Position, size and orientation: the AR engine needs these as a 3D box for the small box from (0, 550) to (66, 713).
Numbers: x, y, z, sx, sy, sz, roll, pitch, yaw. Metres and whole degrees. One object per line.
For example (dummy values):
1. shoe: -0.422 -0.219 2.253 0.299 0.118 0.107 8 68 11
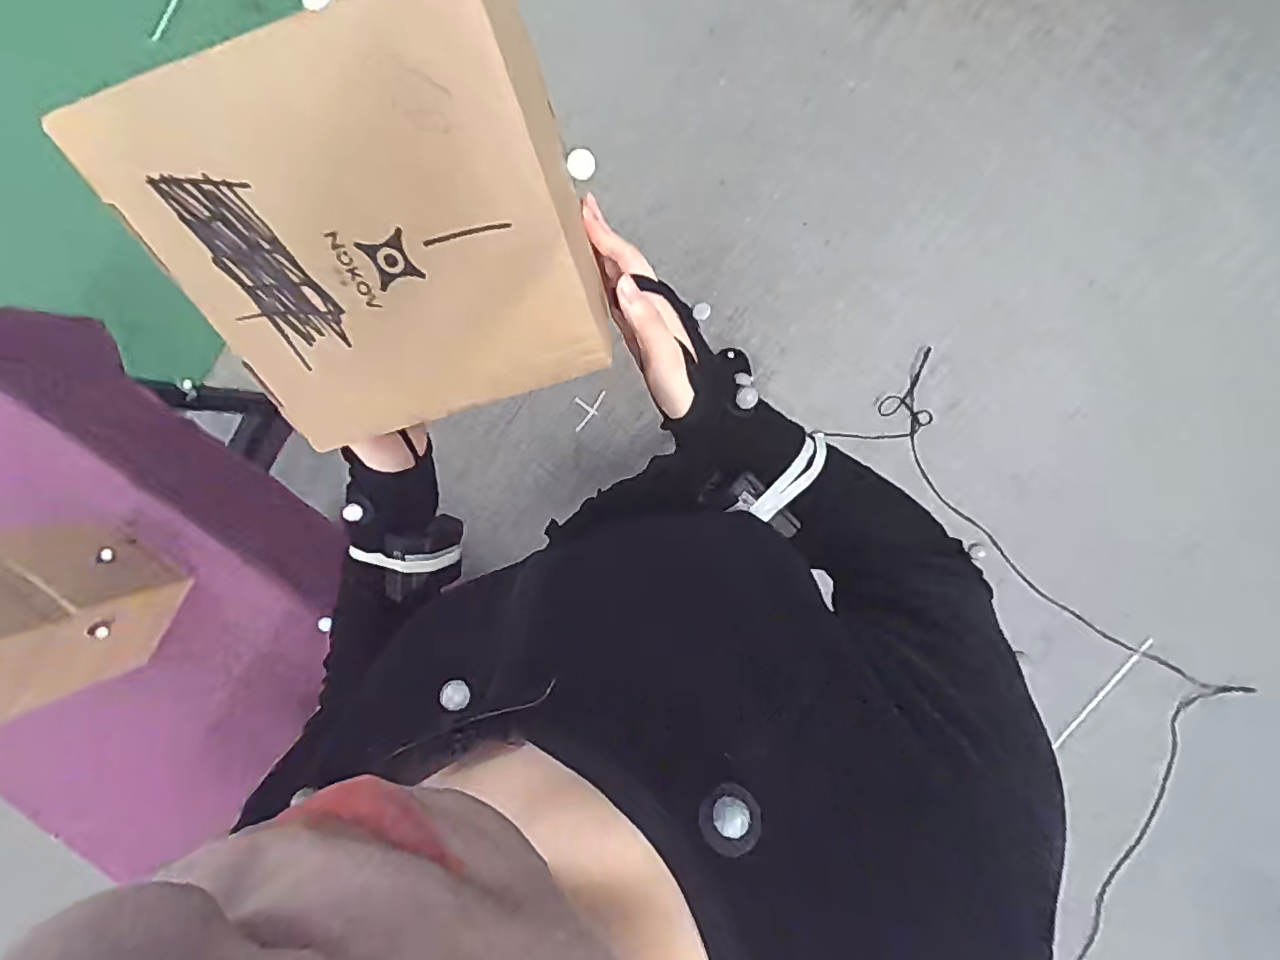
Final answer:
1. small box: -0.832 0.188 0.616 0.168 0.176 0.179 37 98 3

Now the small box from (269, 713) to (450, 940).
1. small box: -0.401 0.464 0.752 0.179 0.176 0.168 32 97 4

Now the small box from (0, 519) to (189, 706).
1. small box: -0.811 0.174 0.777 0.168 0.176 0.179 36 97 3

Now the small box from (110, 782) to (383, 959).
1. small box: -0.418 0.480 0.590 0.168 0.176 0.179 32 97 5

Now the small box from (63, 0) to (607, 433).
1. small box: -0.124 -0.156 0.307 0.179 0.176 0.168 -14 129 5
